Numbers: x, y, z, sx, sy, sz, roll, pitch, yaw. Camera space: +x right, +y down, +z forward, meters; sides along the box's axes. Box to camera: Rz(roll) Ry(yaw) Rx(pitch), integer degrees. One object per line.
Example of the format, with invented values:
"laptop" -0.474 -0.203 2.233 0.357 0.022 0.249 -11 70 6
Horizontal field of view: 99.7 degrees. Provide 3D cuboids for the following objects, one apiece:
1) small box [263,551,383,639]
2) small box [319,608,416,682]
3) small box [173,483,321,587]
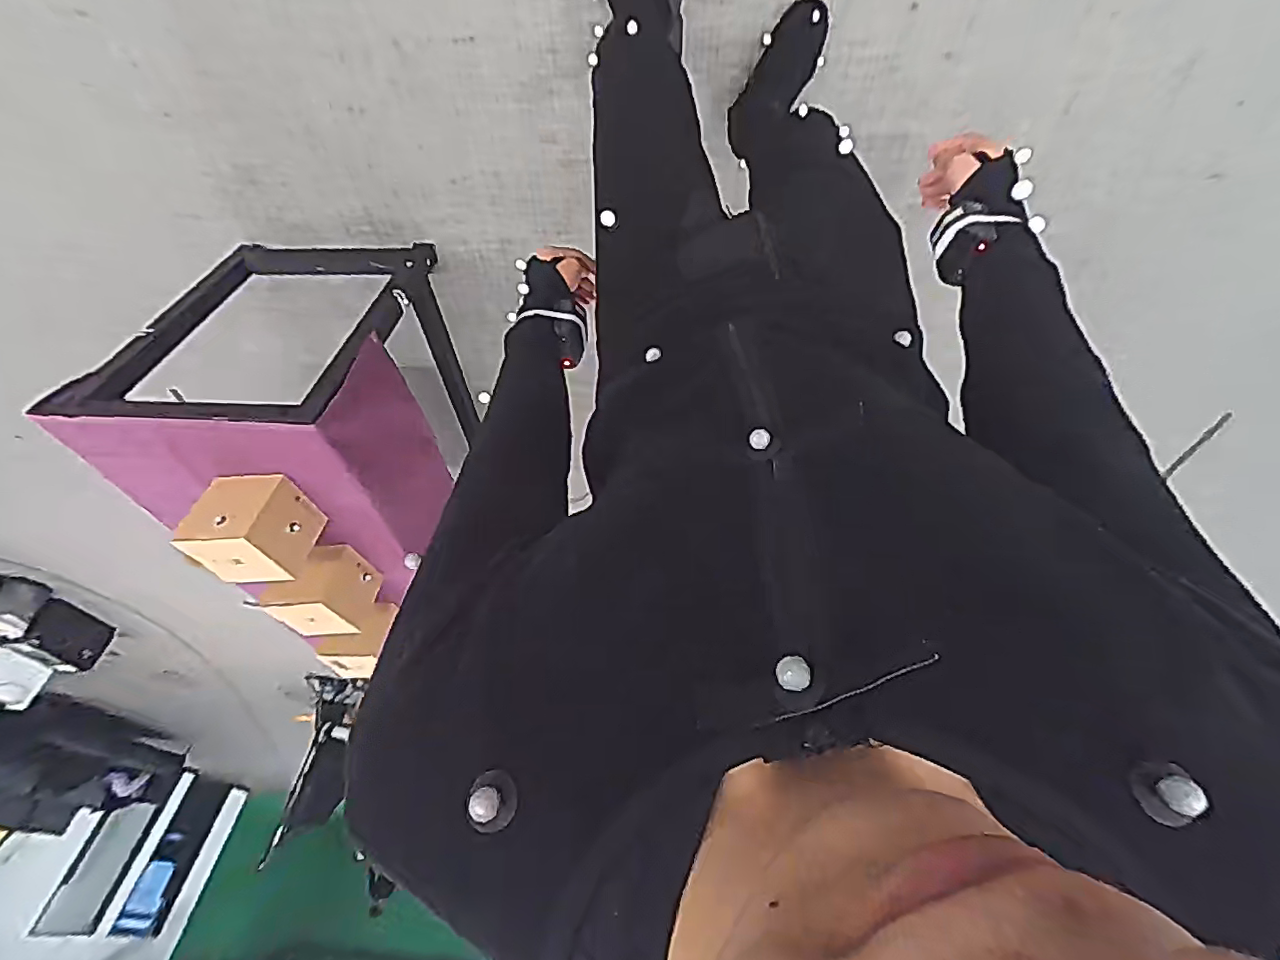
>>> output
"small box" -0.802 0.295 1.388 0.179 0.176 0.168 -5 140 13
"small box" -0.808 0.492 1.623 0.179 0.176 0.168 -1 140 7
"small box" -0.835 0.119 1.178 0.179 0.176 0.168 -2 140 10
